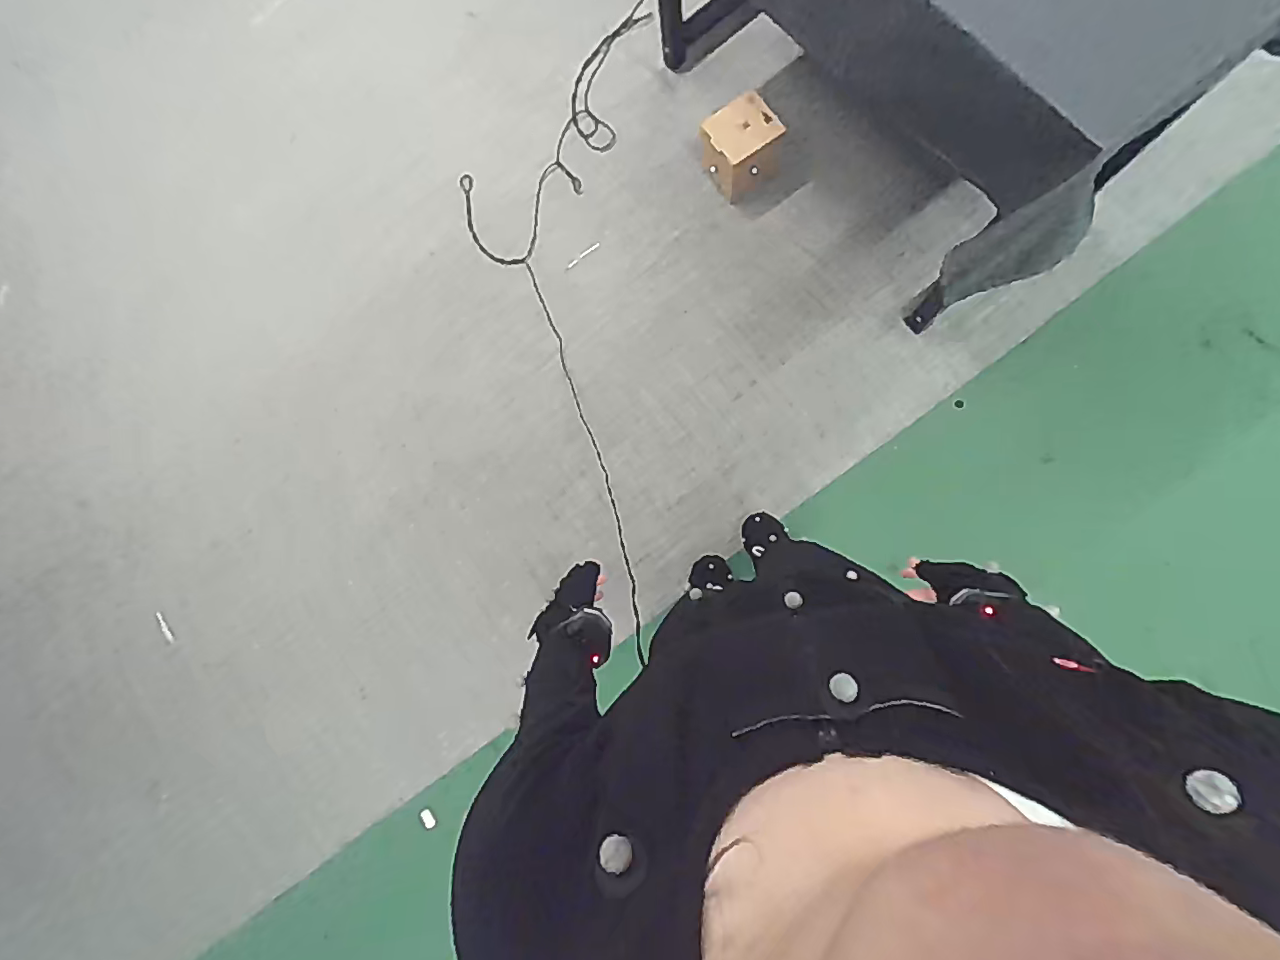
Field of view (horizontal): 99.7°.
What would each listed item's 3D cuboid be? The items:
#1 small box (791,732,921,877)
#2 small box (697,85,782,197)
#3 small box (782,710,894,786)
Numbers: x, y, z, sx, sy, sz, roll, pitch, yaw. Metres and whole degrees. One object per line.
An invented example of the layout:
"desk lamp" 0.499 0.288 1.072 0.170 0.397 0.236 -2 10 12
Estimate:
"small box" 0.444 0.672 1.146 0.179 0.176 0.168 -37 80 2
"small box" 0.280 -0.949 1.533 0.179 0.176 0.168 -33 80 2
"small box" 0.467 0.684 1.307 0.168 0.176 0.179 -39 80 1
